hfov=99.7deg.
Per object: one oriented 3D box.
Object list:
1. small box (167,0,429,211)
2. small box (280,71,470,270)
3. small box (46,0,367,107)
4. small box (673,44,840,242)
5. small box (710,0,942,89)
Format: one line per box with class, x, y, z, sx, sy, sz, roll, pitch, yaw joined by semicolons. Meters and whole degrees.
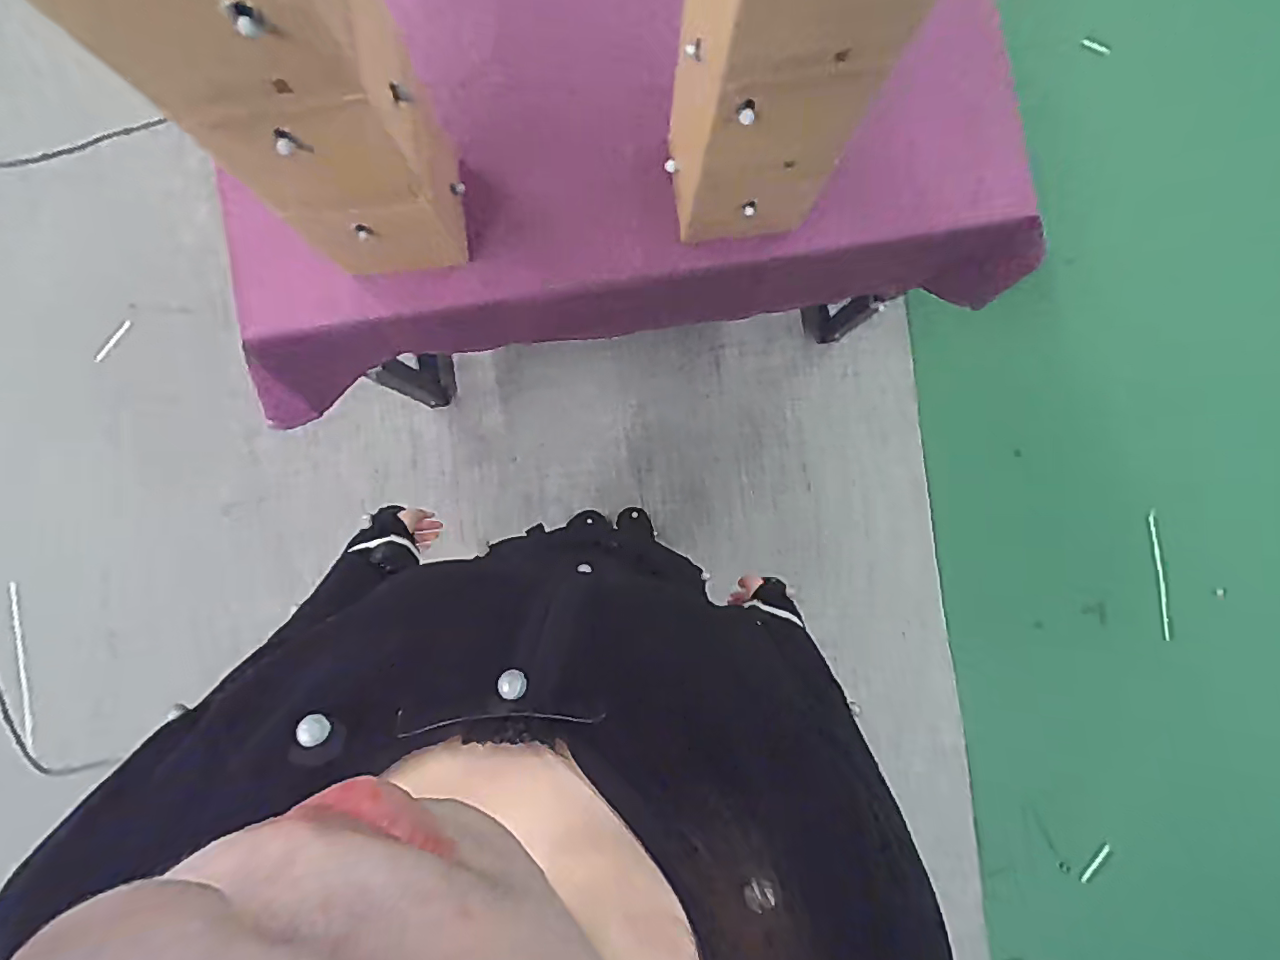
small box;-0.326;-0.397;0.545;0.179;0.176;0.168;-7;88;-1
small box;-0.338;-0.391;0.707;0.179;0.176;0.168;-6;89;-3
small box;-0.317;-0.400;0.382;0.168;0.176;0.179;-9;88;-3
small box;0.145;-0.444;0.729;0.179;0.176;0.168;-6;88;-1
small box;0.142;-0.441;0.399;0.168;0.176;0.179;-9;87;-2
